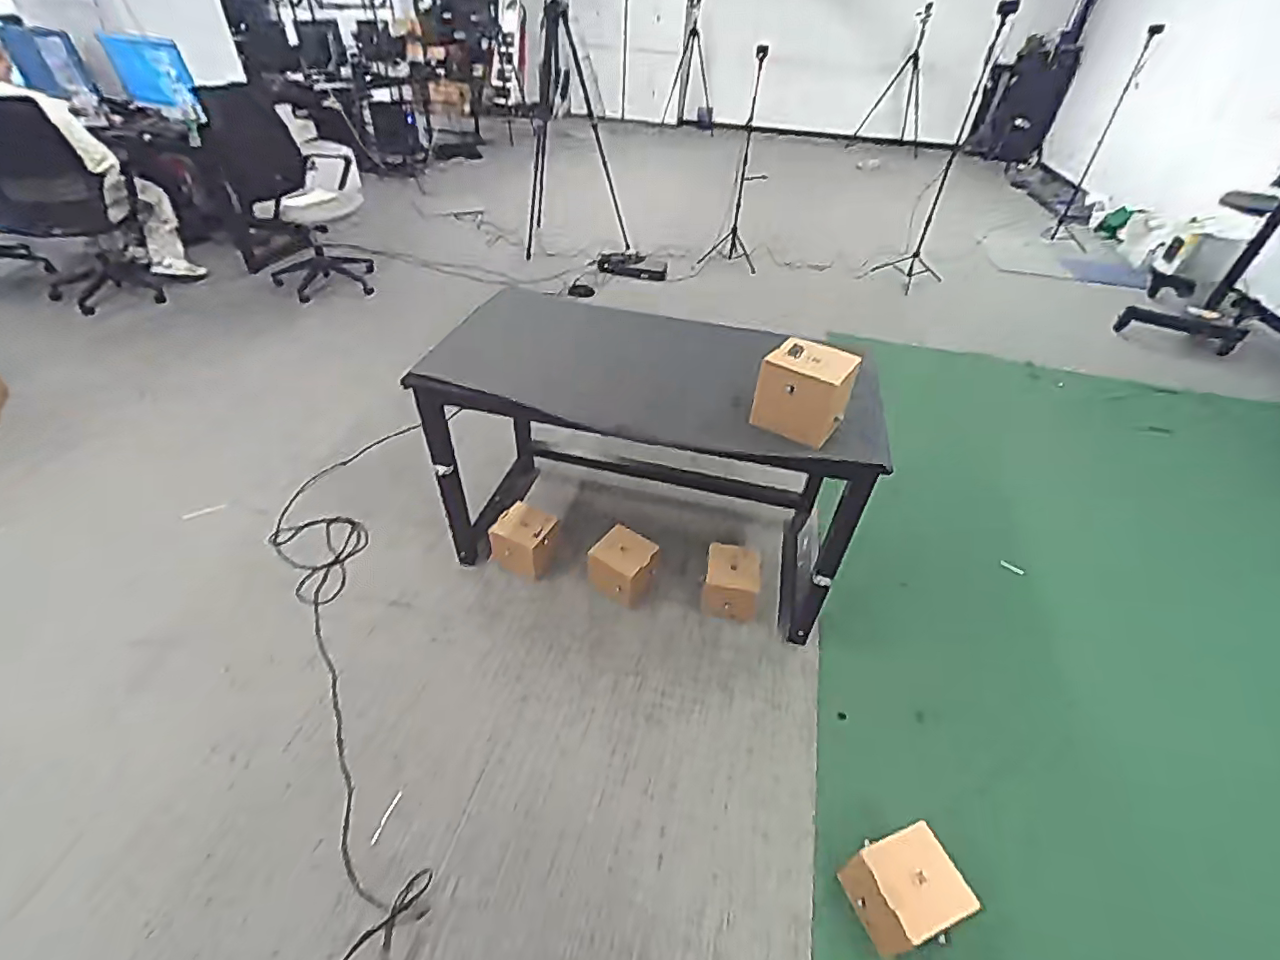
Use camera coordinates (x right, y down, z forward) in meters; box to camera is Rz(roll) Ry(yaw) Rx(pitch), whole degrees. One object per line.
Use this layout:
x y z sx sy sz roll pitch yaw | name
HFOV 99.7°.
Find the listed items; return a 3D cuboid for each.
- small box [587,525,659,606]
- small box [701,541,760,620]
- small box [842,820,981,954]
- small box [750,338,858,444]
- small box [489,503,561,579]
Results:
-0.054 0.286 1.782 0.179 0.176 0.168 25 45 25 | small box
0.291 0.328 1.751 0.168 0.176 0.179 8 42 5 | small box
0.568 0.869 1.156 0.179 0.176 0.168 -13 44 -17 | small box
0.374 -0.207 1.255 0.179 0.176 0.168 25 44 25 | small box
-0.386 0.211 1.848 0.179 0.176 0.168 19 44 19 | small box
